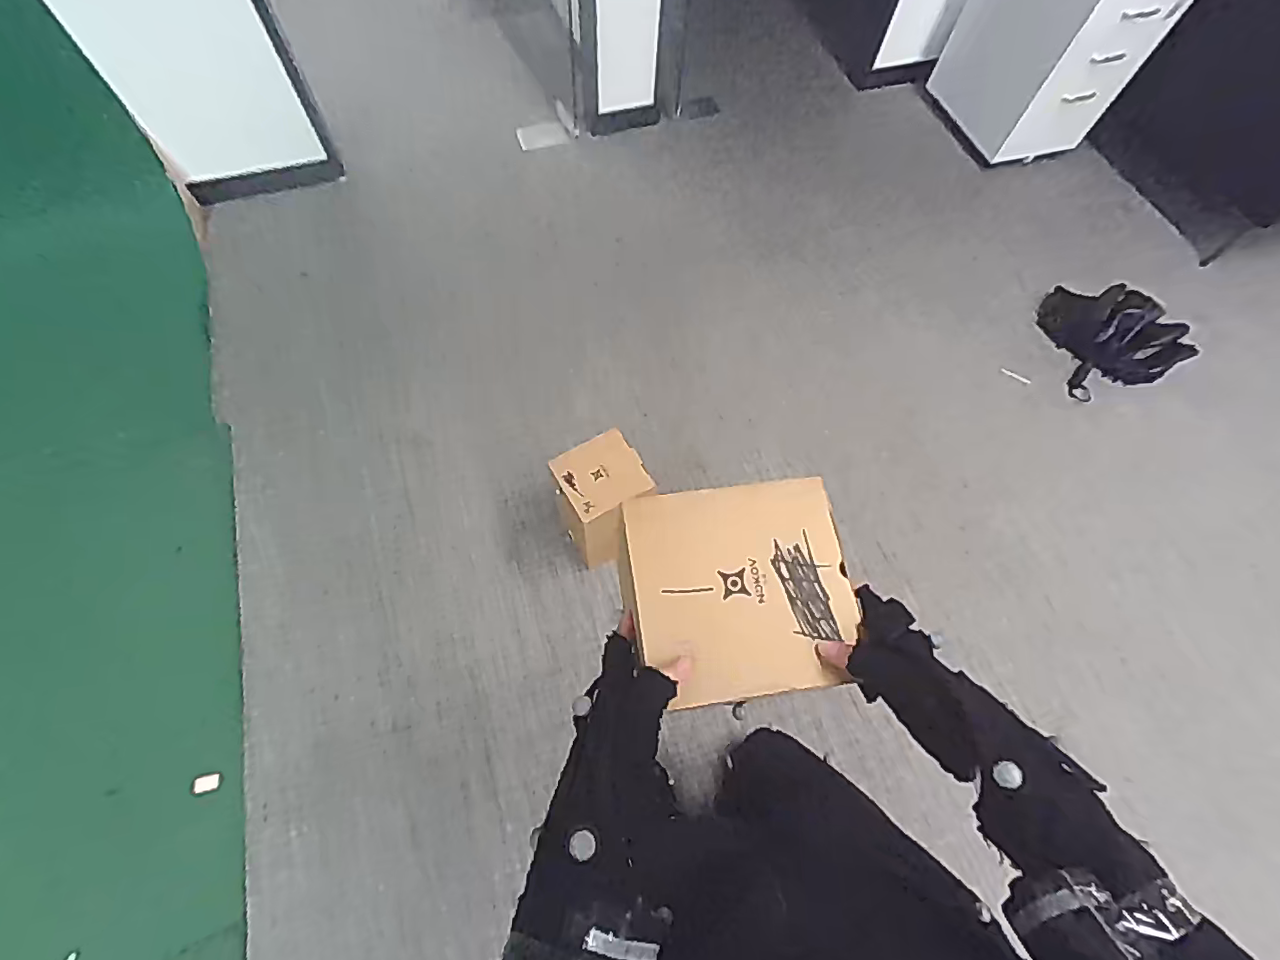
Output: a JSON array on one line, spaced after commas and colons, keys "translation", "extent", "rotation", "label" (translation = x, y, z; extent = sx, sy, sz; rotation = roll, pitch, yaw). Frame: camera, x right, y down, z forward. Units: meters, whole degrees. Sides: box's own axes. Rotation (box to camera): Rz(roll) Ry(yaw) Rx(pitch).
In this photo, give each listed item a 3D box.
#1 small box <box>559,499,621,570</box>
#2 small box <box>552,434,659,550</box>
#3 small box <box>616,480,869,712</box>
[{"translation": [-0.085, 0.102, 1.364], "extent": [0.179, 0.176, 0.168], "rotation": [-29, 68, -13], "label": "small box"}, {"translation": [-0.078, 0.031, 1.220], "extent": [0.179, 0.176, 0.168], "rotation": [-30, 71, -15], "label": "small box"}, {"translation": [0.074, 0.114, 0.502], "extent": [0.179, 0.176, 0.168], "rotation": [-7, 67, -5], "label": "small box"}]
